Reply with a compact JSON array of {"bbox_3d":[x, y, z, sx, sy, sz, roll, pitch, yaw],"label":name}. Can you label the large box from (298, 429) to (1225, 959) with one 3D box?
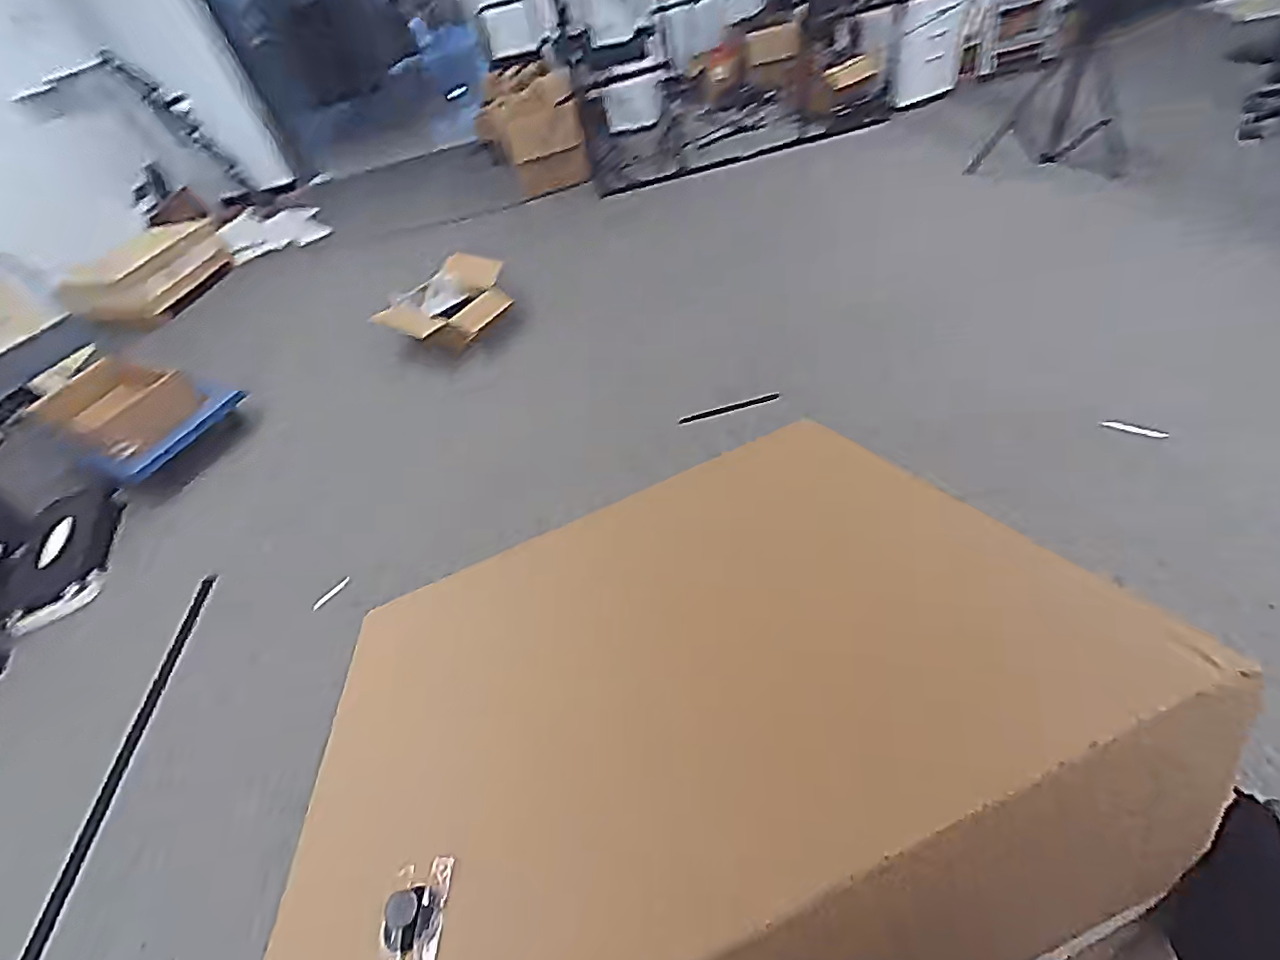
[{"bbox_3d":[0.058,0.211,0.395,0.408,0.320,0.320,-23,28,-4],"label":"large box"}]
